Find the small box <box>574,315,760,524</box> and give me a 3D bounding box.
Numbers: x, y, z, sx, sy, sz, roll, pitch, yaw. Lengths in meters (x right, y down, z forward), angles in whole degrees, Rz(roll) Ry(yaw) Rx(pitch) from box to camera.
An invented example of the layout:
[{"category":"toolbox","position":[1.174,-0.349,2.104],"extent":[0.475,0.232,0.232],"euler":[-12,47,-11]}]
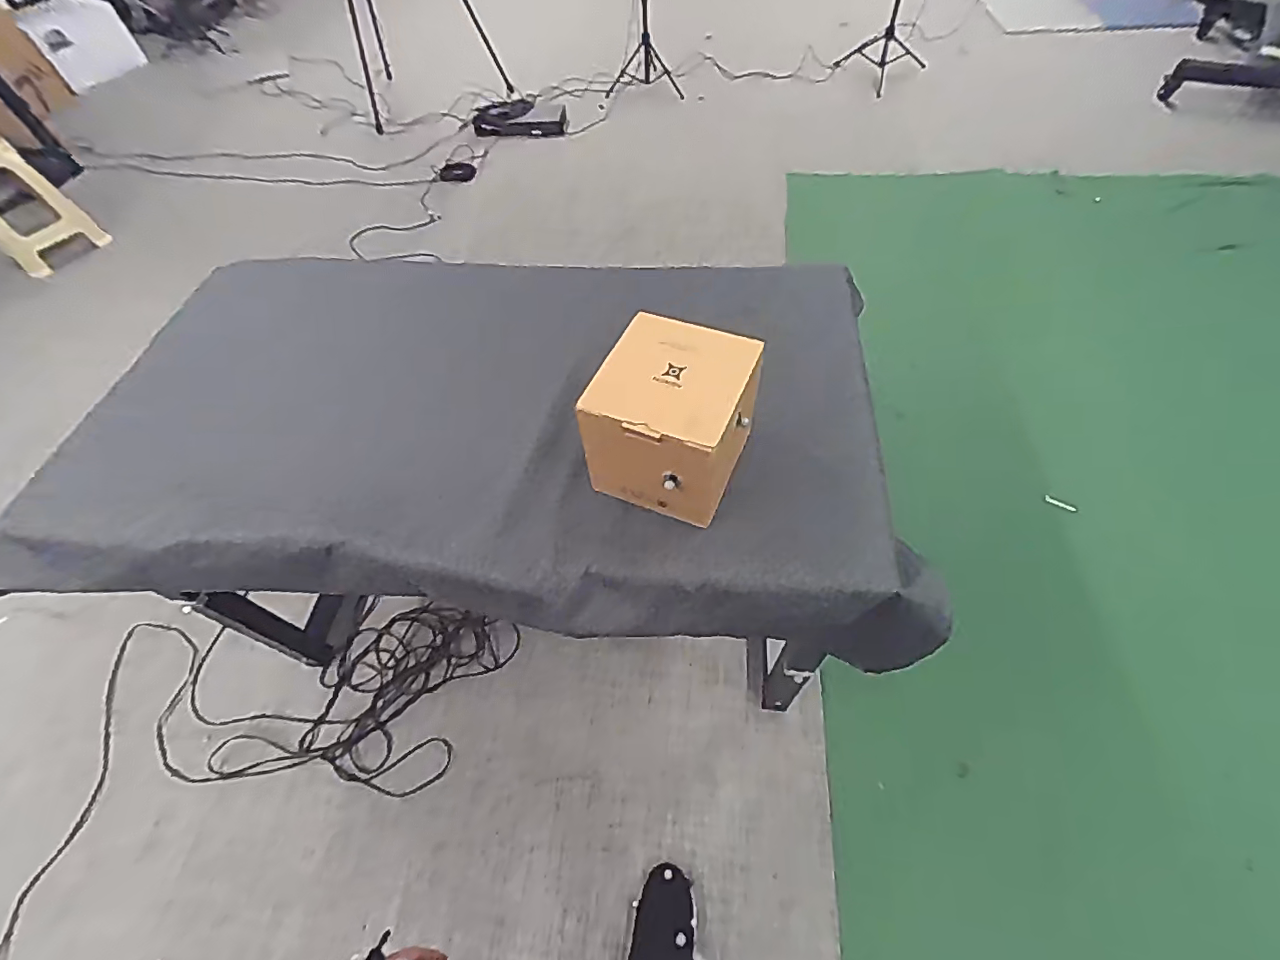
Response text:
[{"category":"small box","position":[0.039,-0.072,0.681],"extent":[0.168,0.176,0.179],"euler":[19,57,15]}]
